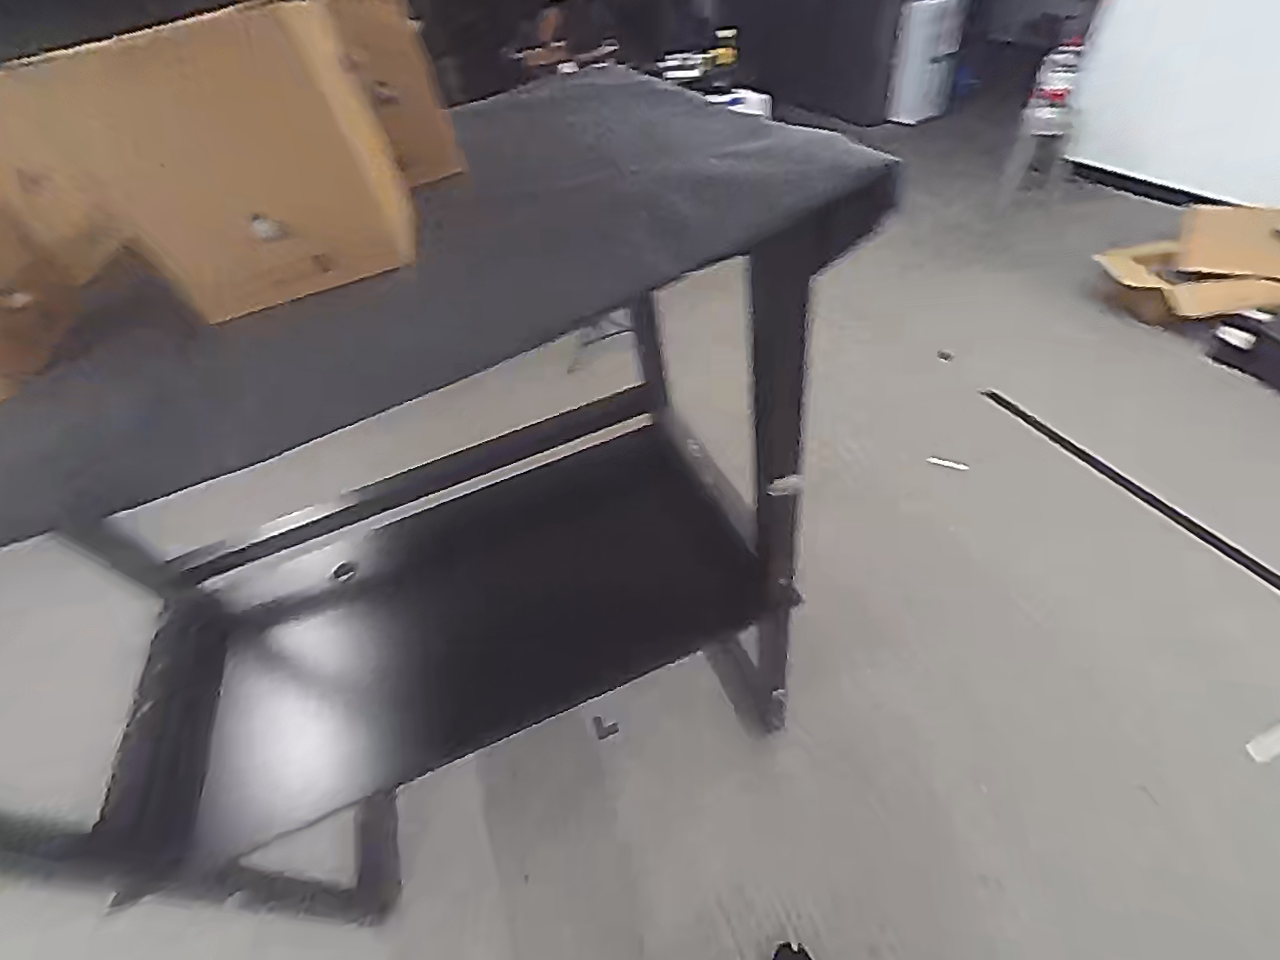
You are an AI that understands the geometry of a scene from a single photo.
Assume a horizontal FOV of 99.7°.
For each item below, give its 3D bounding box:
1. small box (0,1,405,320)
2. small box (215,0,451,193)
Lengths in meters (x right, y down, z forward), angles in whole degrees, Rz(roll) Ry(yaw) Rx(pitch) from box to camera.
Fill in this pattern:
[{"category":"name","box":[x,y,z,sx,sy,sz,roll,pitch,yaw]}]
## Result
[{"category":"small box","box":[-0.308,-0.256,0.437,0.168,0.176,0.179,-20,45,-5]},{"category":"small box","box":[-0.325,-0.419,0.594,0.168,0.176,0.179,-23,47,-10]}]
